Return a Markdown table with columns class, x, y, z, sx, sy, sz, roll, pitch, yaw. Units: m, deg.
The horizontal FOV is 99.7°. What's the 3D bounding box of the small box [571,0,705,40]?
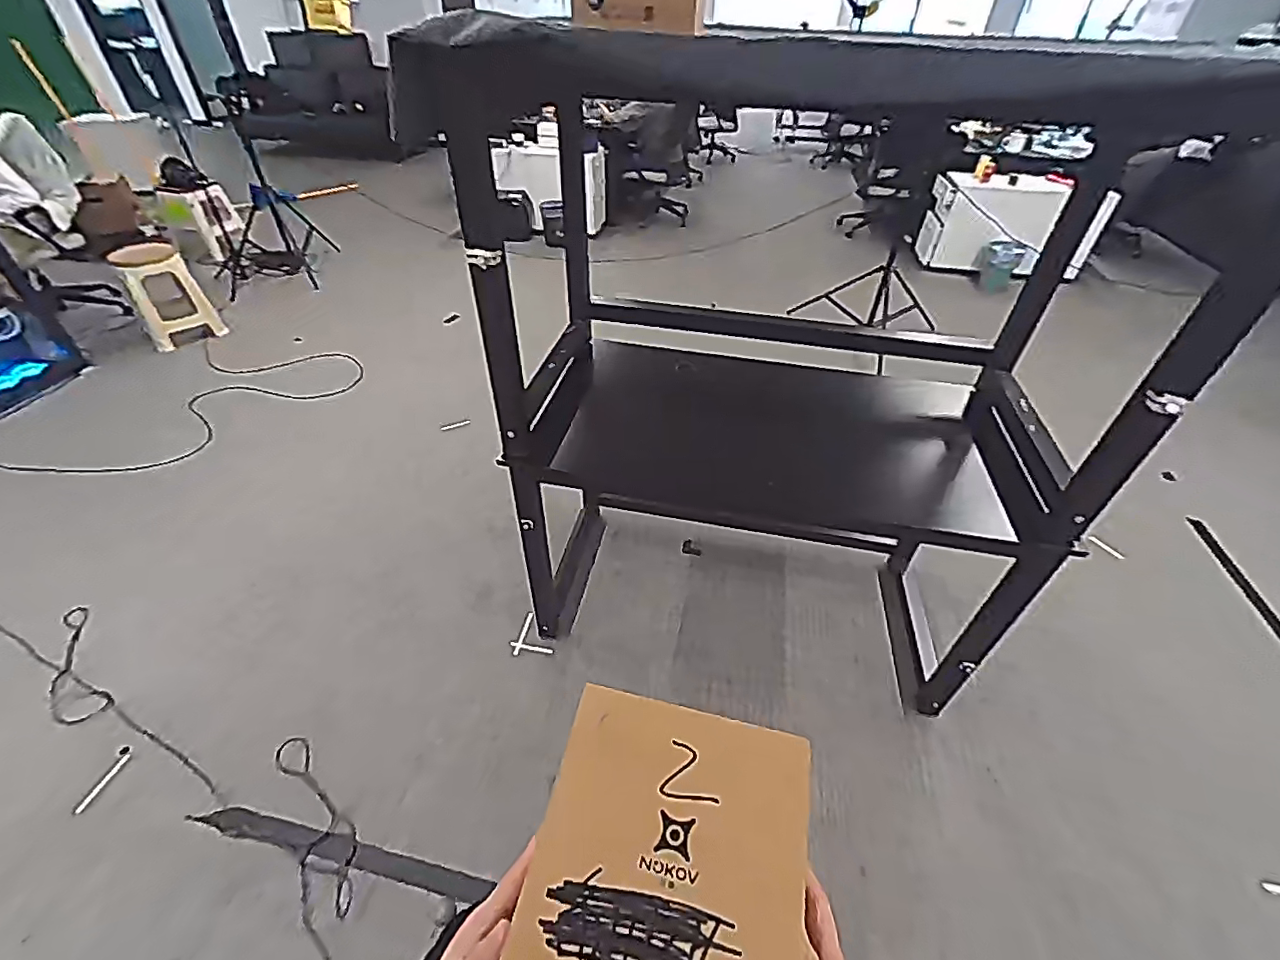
| class | x | y | z | sx | sy | sz | roll | pitch | yaw |
| --- | --- | --- | --- | --- | --- | --- | --- | --- | --- |
| small box | 0.003 | -0.695 | 0.717 | 0.168 | 0.176 | 0.179 | 8 | 40 | 5 |
